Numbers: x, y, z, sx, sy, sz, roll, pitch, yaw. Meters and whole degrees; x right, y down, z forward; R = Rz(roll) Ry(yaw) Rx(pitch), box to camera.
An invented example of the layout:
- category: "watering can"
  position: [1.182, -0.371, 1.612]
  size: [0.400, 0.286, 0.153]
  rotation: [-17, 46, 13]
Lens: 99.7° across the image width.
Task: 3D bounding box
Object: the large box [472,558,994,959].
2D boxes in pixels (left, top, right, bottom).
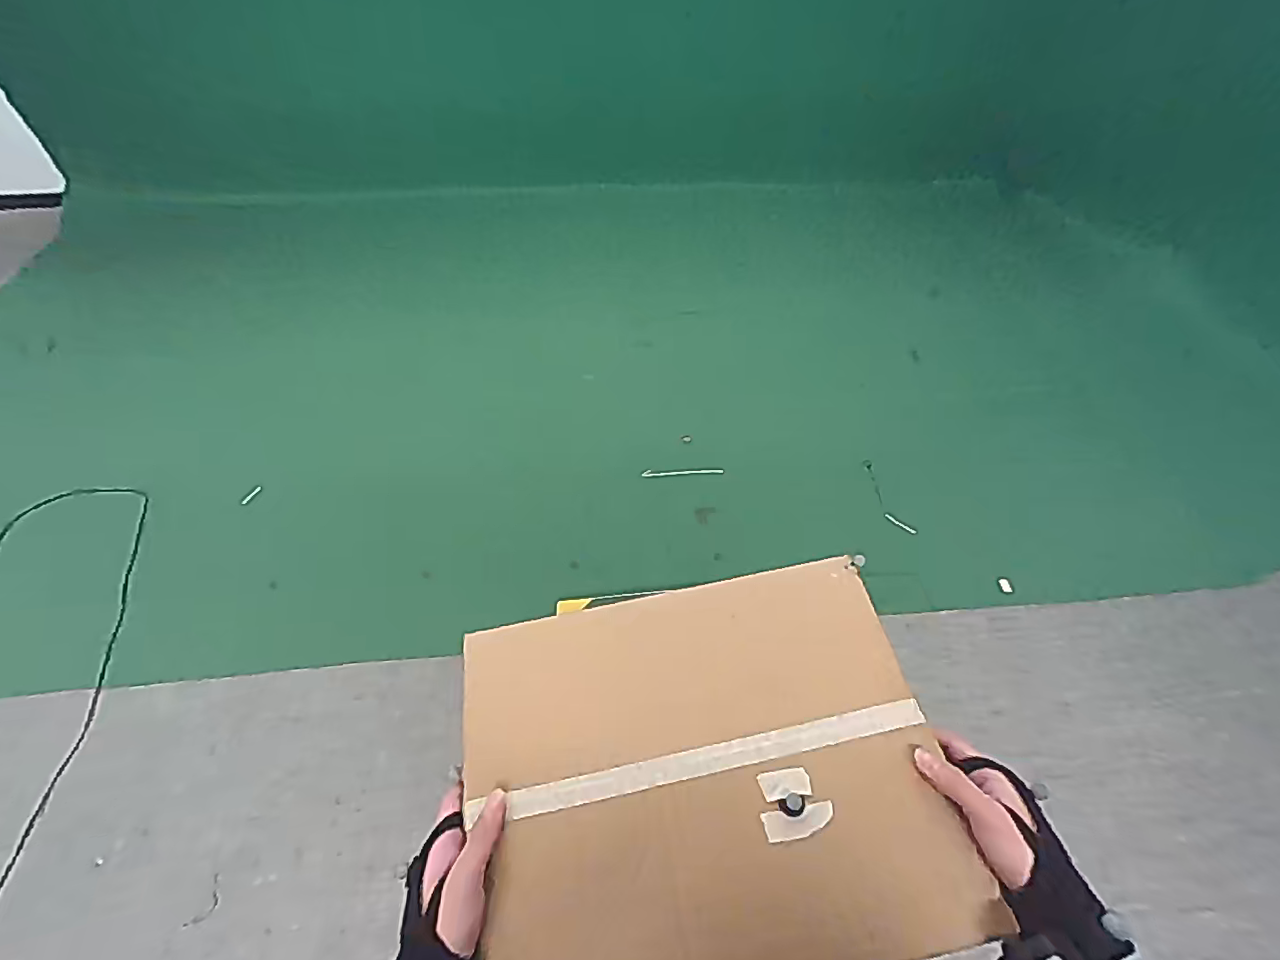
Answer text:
- category: "large box"
  position: [0.059, 0.331, 0.607]
  size: [0.408, 0.320, 0.320]
  rotation: [-11, 57, -4]
